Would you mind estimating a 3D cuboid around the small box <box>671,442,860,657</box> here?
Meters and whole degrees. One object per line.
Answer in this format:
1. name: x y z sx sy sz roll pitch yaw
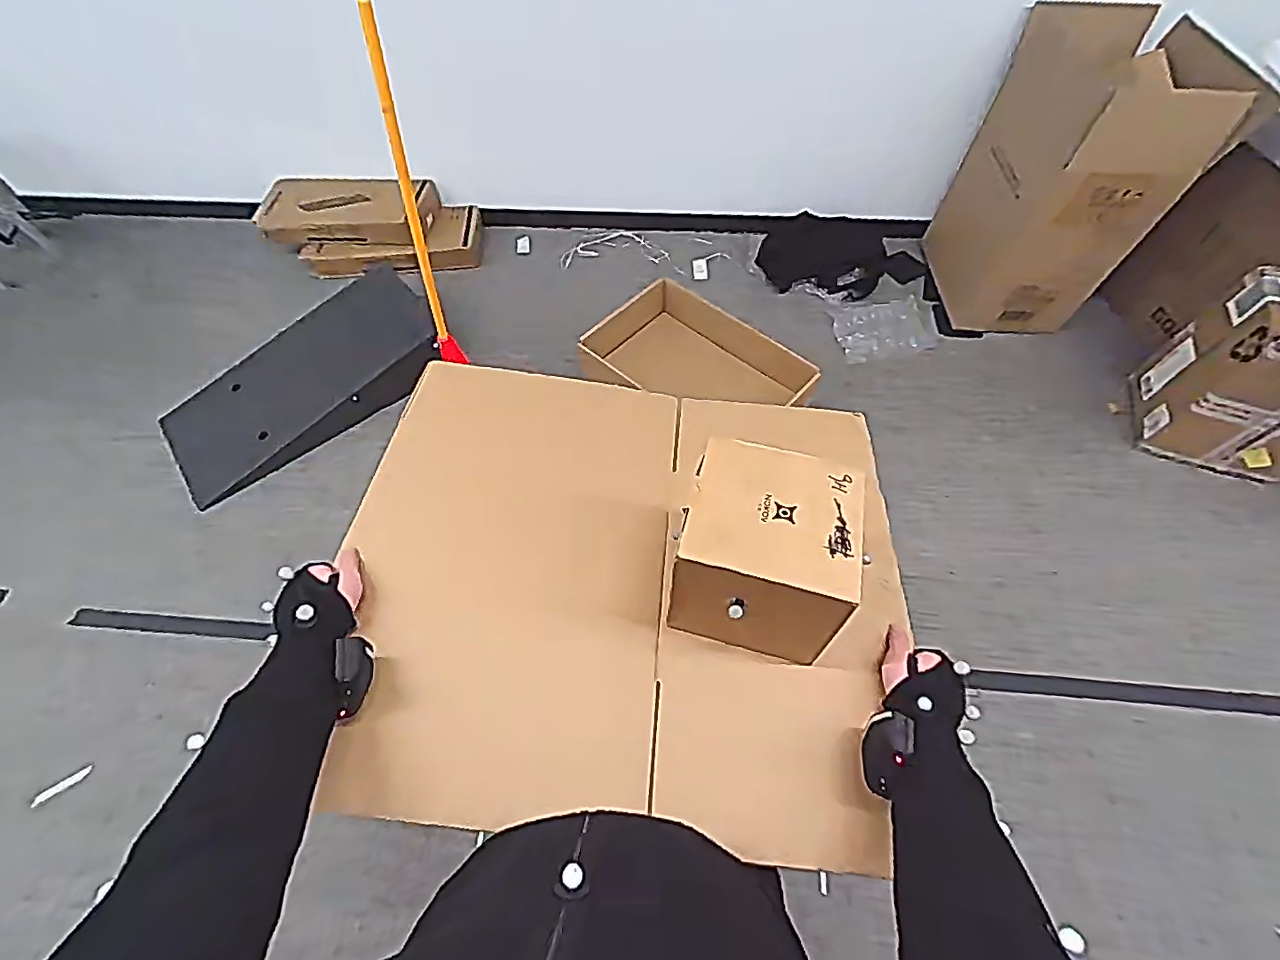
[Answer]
1. small box: 0.137 0.084 0.624 0.179 0.176 0.168 13 53 10
